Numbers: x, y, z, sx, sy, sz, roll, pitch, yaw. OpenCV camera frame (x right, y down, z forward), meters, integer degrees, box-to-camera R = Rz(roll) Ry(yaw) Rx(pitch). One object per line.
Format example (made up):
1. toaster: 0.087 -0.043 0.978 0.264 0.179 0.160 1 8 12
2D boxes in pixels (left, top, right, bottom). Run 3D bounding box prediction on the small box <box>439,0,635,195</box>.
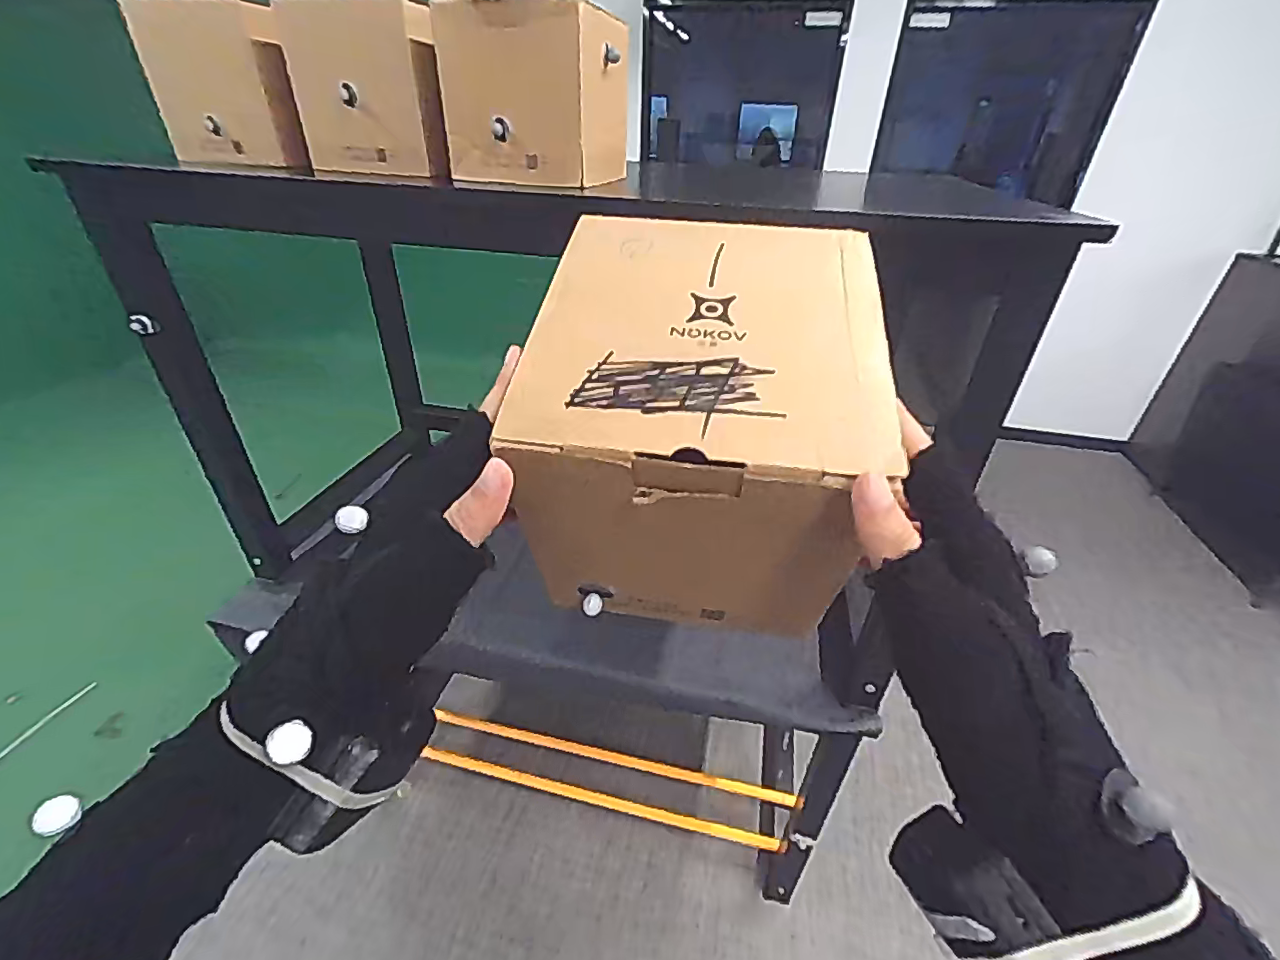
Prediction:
1. small box: -0.110 -0.446 0.640 0.168 0.176 0.179 10 34 11
